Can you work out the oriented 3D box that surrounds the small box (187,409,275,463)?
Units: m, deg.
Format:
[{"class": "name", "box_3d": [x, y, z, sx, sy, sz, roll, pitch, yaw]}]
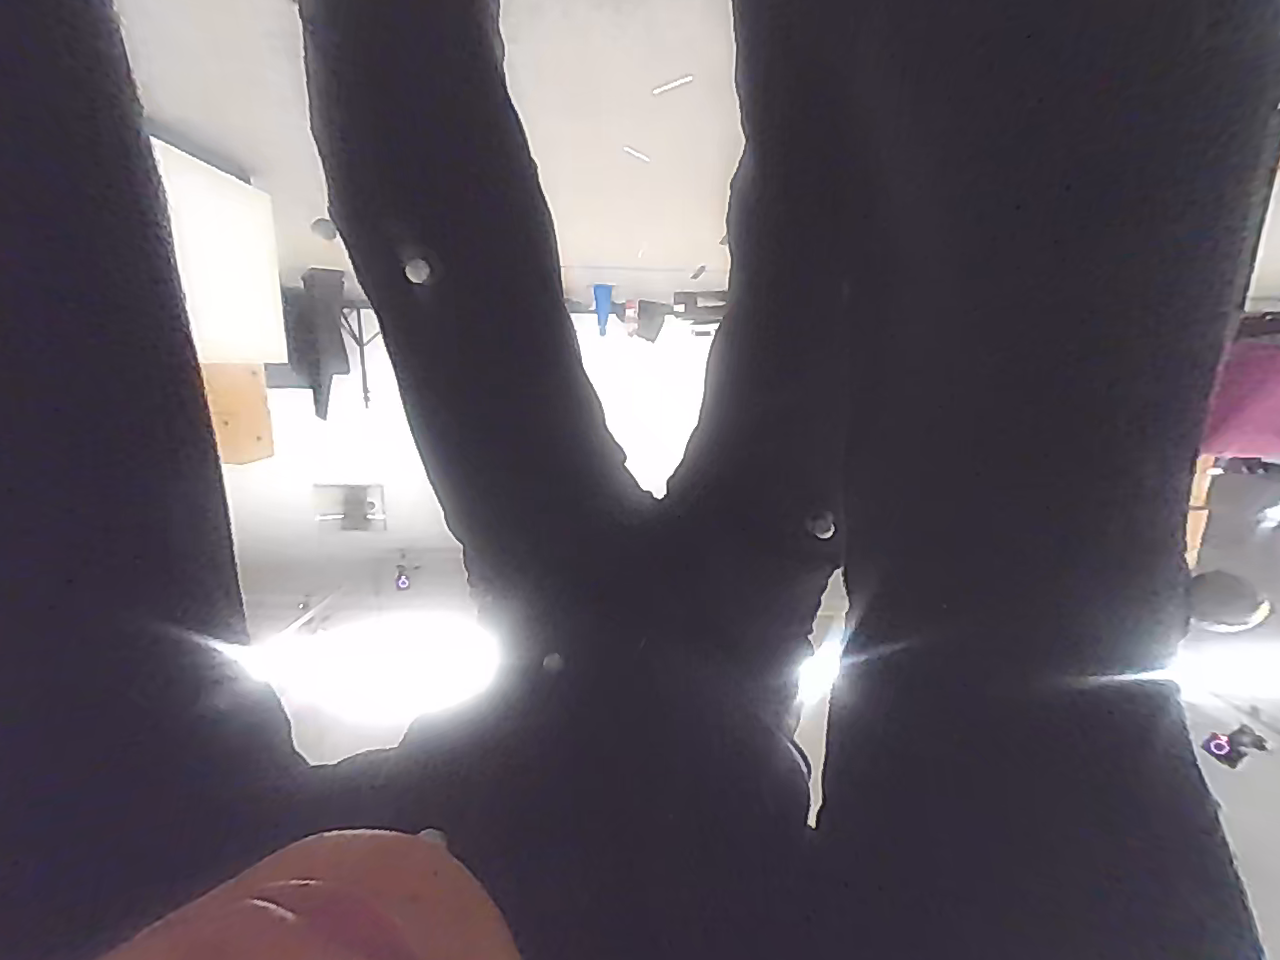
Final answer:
[{"class": "small box", "box_3d": [-1.381, -0.157, 1.827, 0.168, 0.176, 0.179, 3, -166, -1]}]

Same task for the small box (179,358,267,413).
[{"class": "small box", "box_3d": [-1.376, -0.316, 1.786, 0.179, 0.176, 0.168, 1, -167, -5]}]
